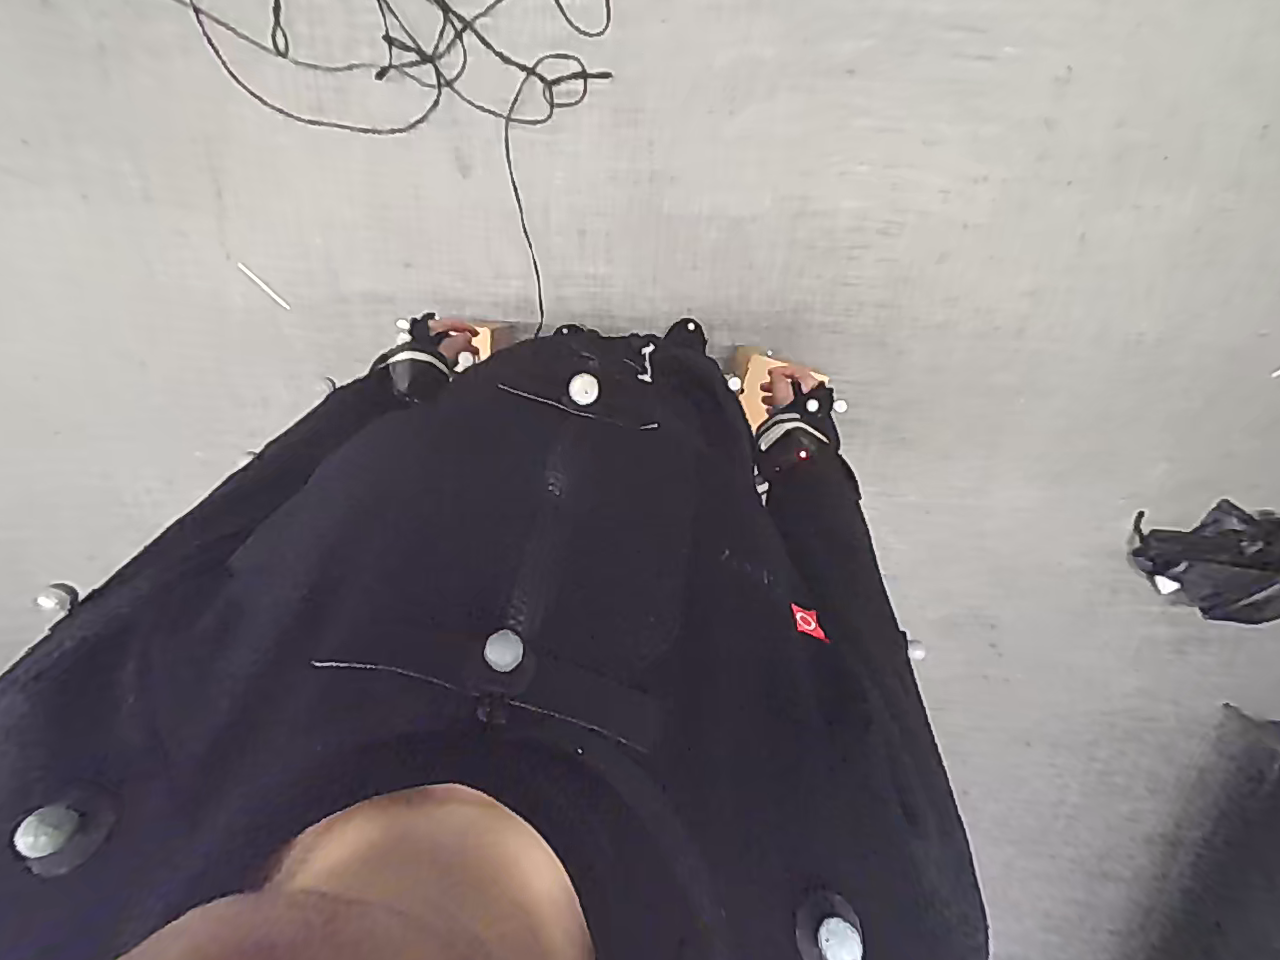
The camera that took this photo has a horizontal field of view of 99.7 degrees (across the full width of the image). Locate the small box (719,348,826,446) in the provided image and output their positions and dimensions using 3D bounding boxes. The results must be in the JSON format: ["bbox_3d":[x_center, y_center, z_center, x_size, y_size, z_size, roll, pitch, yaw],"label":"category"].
[{"bbox_3d":[0.294,-0.198,1.240,0.179,0.176,0.168,15,110,-3],"label":"small box"}]
